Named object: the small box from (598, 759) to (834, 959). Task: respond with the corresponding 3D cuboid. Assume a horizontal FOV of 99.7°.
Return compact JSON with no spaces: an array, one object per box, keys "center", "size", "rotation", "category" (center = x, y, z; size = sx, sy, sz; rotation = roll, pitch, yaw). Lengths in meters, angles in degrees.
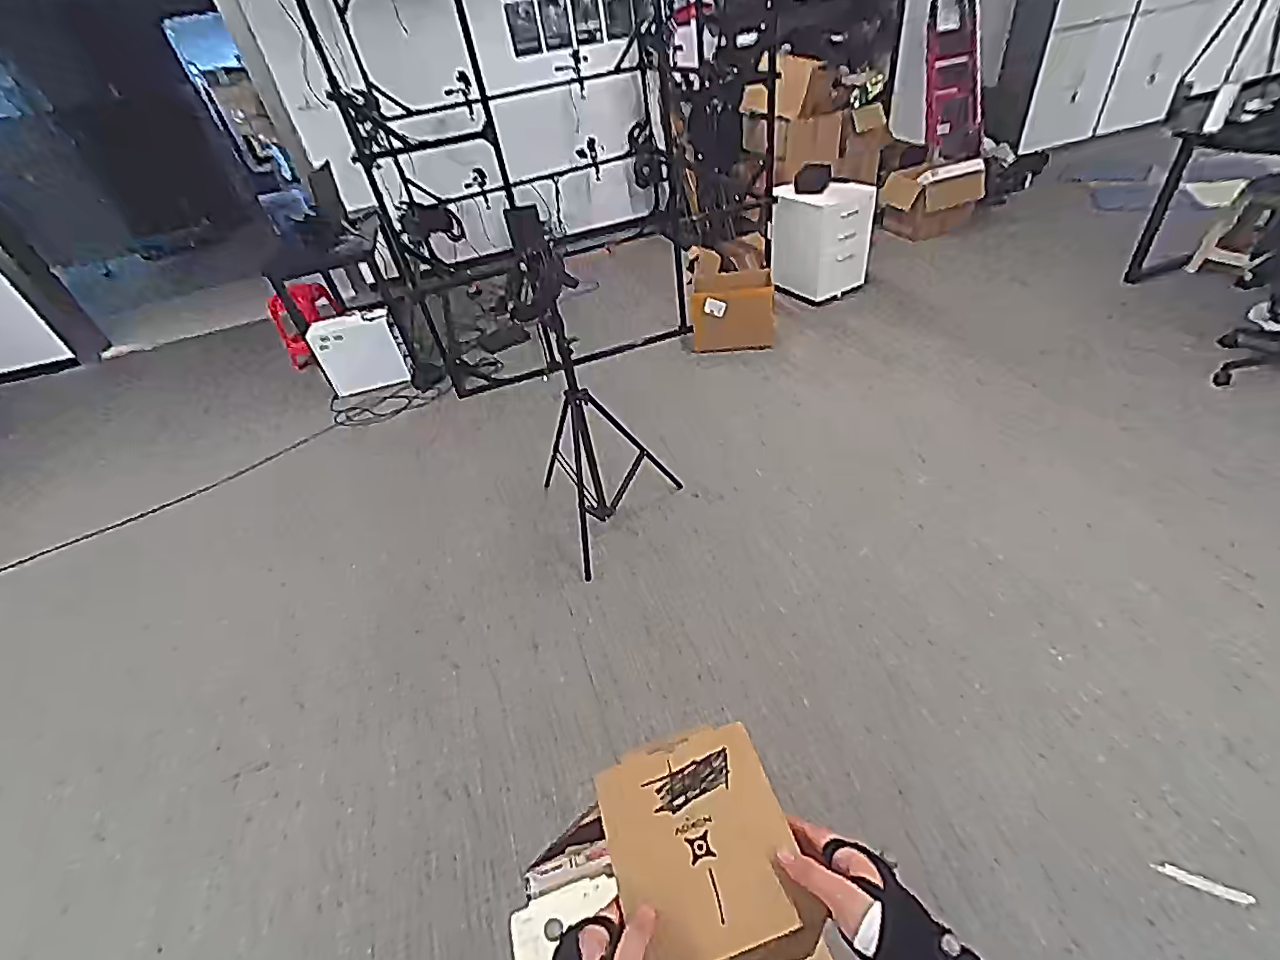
[{"center":[0.066,0.414,0.526],"size":[0.168,0.176,0.179],"rotation":[-16,42,-7],"category":"small box"}]
